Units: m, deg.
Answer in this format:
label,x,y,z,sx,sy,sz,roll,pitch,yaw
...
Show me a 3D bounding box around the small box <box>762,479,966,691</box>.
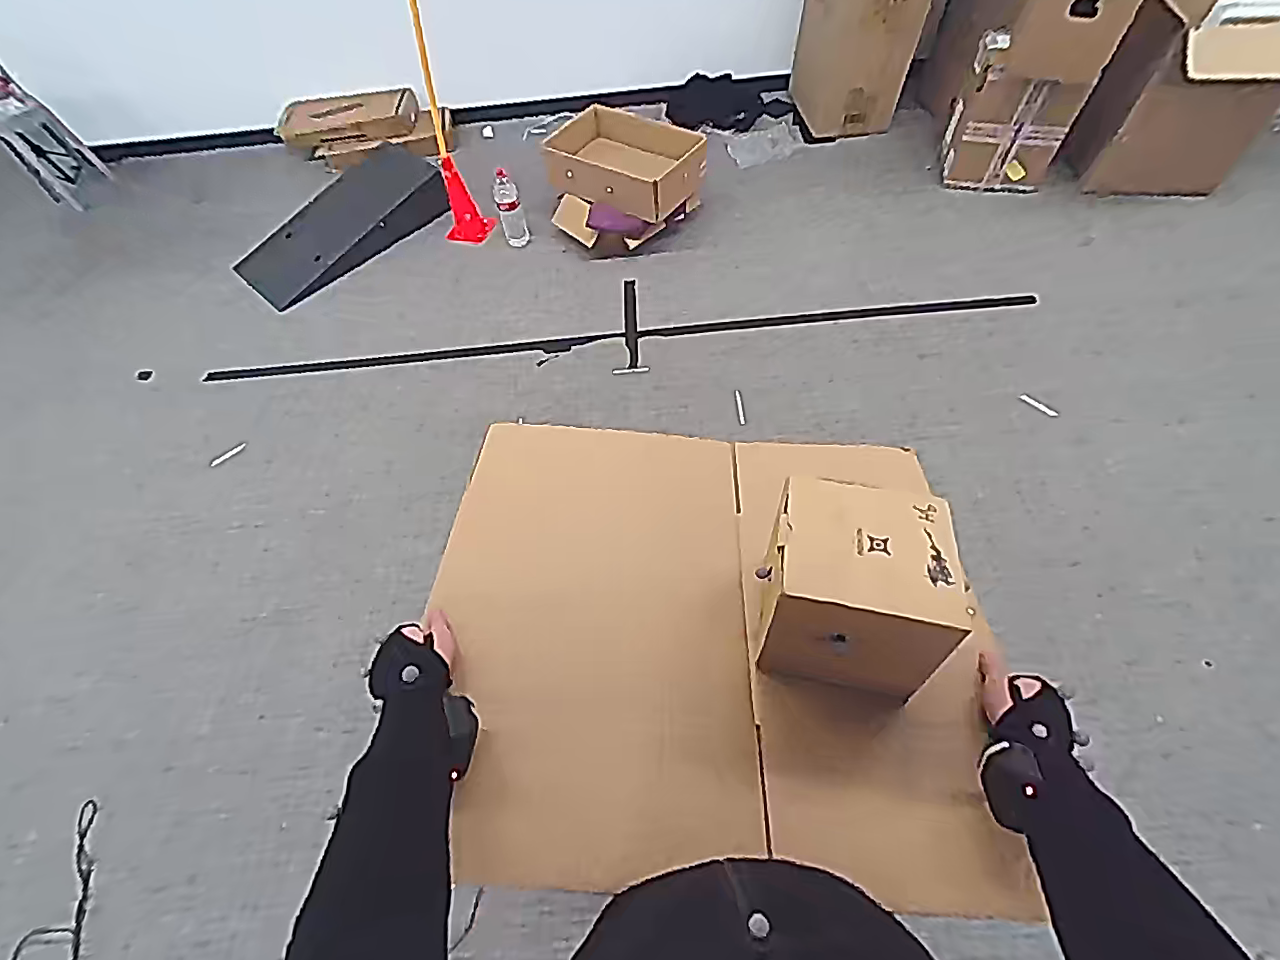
label,x,y,z,sx,sy,sz,roll,pitch,yaw
small box,0.242,0.123,0.628,0.179,0.176,0.168,8,49,10
